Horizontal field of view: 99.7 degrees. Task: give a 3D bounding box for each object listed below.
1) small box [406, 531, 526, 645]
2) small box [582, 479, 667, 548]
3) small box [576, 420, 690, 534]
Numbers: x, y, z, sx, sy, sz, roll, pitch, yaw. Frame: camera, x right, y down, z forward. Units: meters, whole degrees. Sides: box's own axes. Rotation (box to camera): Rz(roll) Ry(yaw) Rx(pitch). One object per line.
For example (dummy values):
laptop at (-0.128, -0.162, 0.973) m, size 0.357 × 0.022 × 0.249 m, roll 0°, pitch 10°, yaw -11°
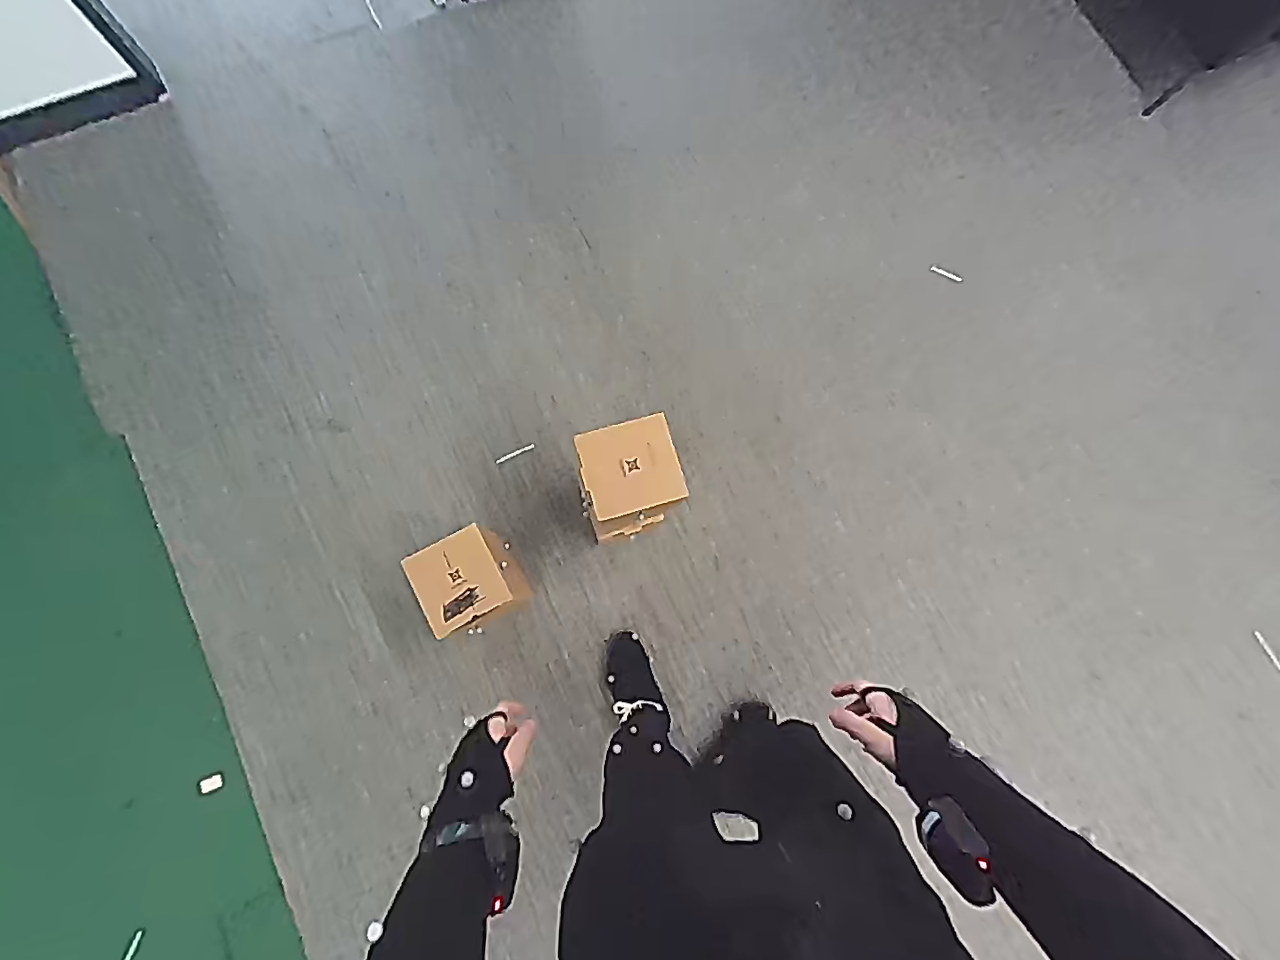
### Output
small box at (-0.360, 0.228, 1.155) m, size 0.168 × 0.176 × 0.179 m, roll -28°, pitch 80°, yaw -9°
small box at (-0.042, 0.067, 1.375) m, size 0.168 × 0.176 × 0.179 m, roll -18°, pitch 81°, yaw -8°
small box at (-0.016, 0.003, 1.058) m, size 0.179 × 0.176 × 0.168 m, roll -15°, pitch 81°, yaw -7°
